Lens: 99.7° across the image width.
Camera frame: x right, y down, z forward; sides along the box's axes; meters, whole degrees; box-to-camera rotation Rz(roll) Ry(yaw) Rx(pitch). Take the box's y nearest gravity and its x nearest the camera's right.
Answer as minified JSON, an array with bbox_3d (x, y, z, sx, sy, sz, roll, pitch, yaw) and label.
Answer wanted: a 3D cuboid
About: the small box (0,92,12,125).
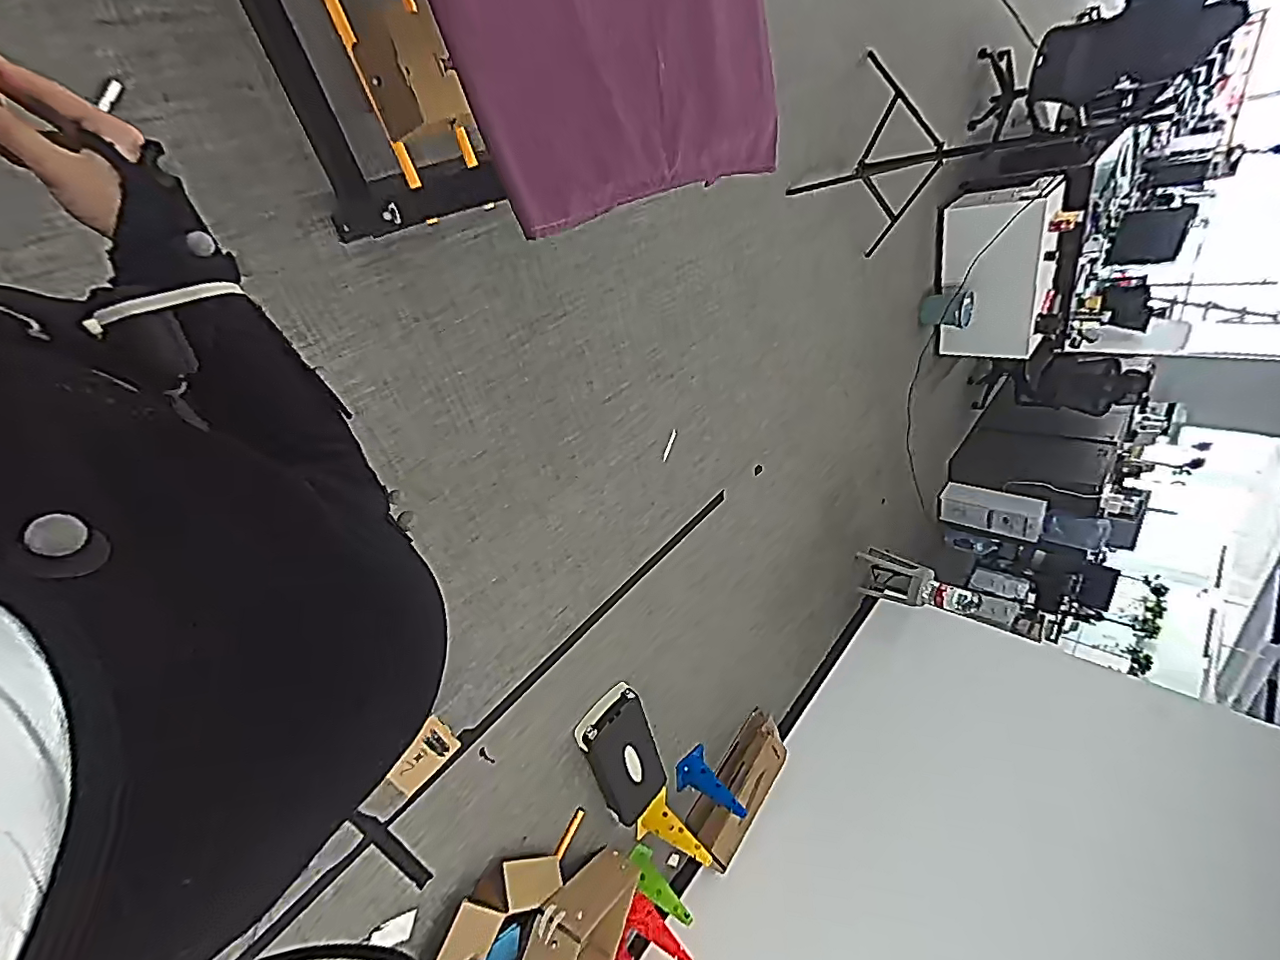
[{"bbox_3d":[-0.485,-0.297,0.279,0.168,0.176,0.179,-22,130,-39],"label":"small box"}]

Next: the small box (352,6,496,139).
[{"bbox_3d":[-0.425,-0.796,1.065,0.179,0.176,0.168,-39,127,-31],"label":"small box"}]
